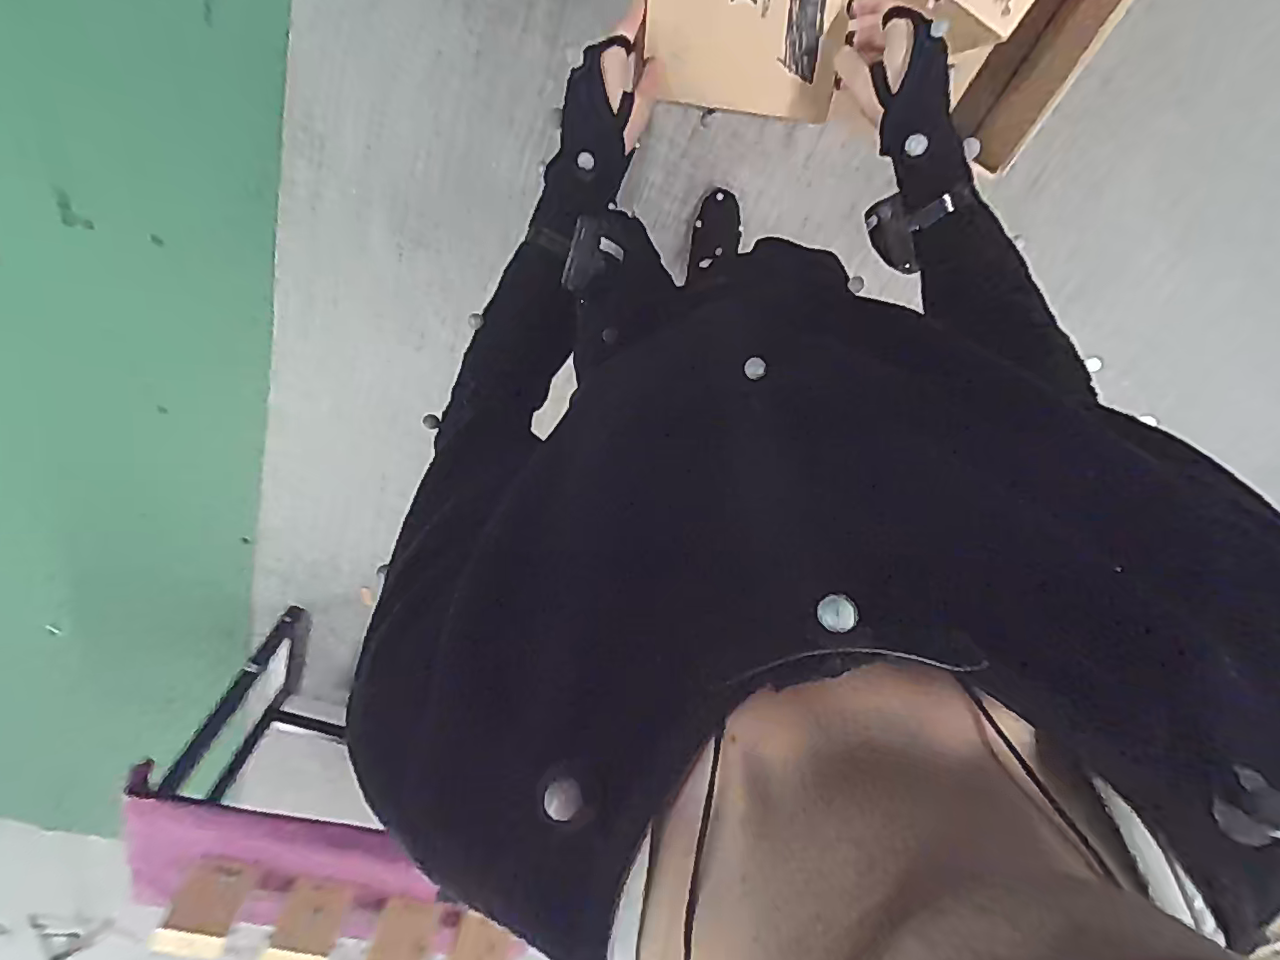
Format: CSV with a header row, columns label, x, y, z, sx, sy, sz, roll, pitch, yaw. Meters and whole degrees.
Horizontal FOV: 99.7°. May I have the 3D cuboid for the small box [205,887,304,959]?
label,x,y,z,sx,sy,sz,roll,pitch,yaw
small box,-1.041,1.232,1.450,0.168,0.176,0.179,29,117,-14

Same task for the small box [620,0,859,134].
label,x,y,z,sx,sy,sz,roll,pitch,yaw
small box,0.083,-0.432,0.498,0.179,0.176,0.168,2,124,-10

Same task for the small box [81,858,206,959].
label,x,y,z,sx,sy,sz,roll,pitch,yaw
small box,-1.264,1.113,1.386,0.168,0.176,0.179,30,116,-16

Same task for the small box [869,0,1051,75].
label,x,y,z,sx,sy,sz,roll,pitch,yaw
small box,0.419,-0.647,0.665,0.168,0.176,0.179,28,117,-12

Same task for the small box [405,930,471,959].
label,x,y,z,sx,sy,sz,roll,pitch,yaw
small box,-0.606,1.448,1.570,0.168,0.176,0.179,23,119,-12
